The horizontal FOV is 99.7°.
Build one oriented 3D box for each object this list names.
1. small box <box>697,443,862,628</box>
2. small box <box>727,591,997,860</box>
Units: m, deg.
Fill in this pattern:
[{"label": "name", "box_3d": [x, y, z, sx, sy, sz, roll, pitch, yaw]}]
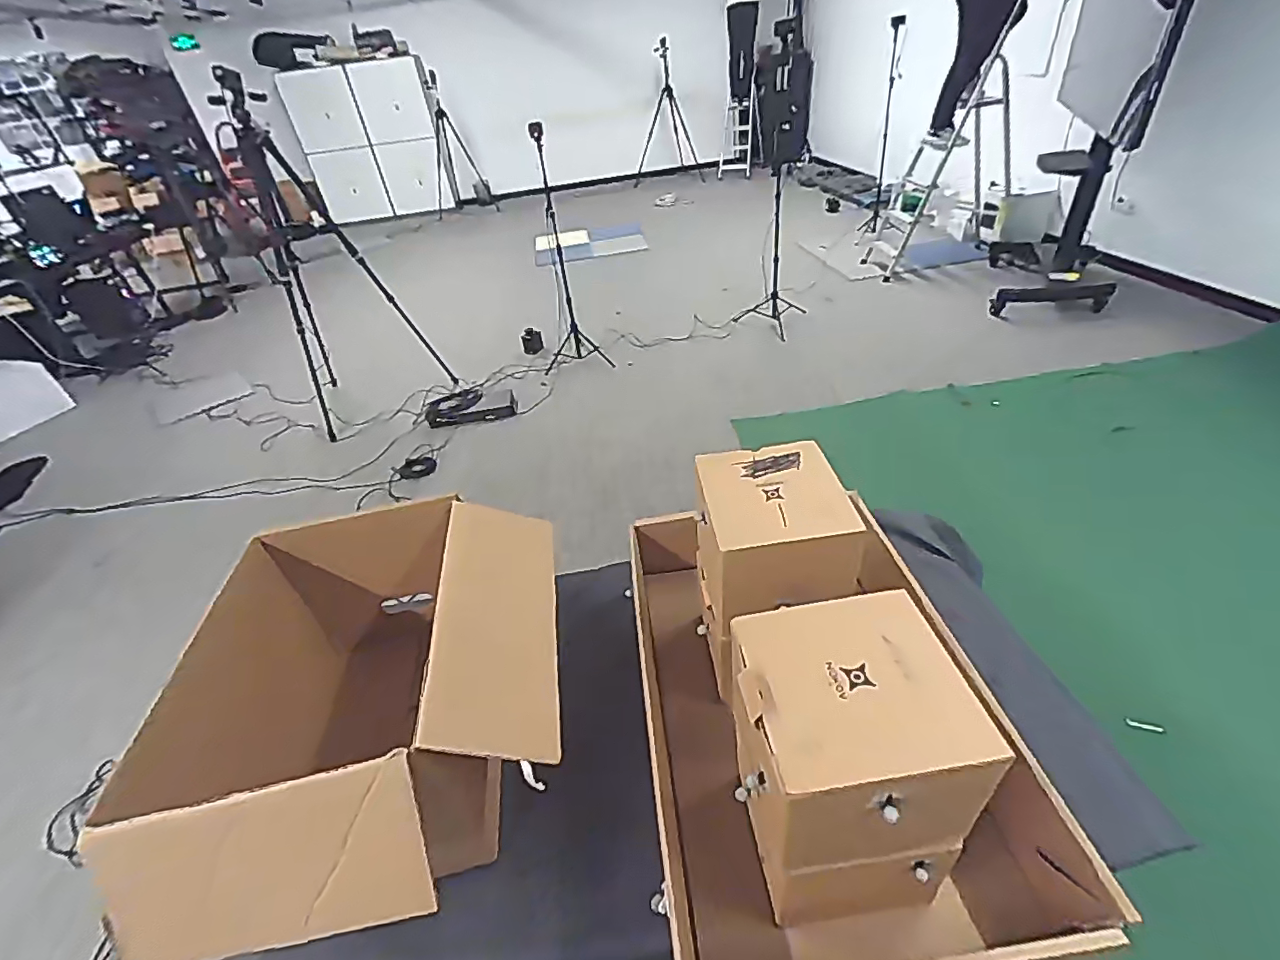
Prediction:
[{"label": "small box", "box_3d": [0.168, 0.075, 0.715, 0.168, 0.176, 0.179, -7, 41, 0]}, {"label": "small box", "box_3d": [0.188, 0.235, 0.518, 0.179, 0.176, 0.168, -9, 39, -1]}]
